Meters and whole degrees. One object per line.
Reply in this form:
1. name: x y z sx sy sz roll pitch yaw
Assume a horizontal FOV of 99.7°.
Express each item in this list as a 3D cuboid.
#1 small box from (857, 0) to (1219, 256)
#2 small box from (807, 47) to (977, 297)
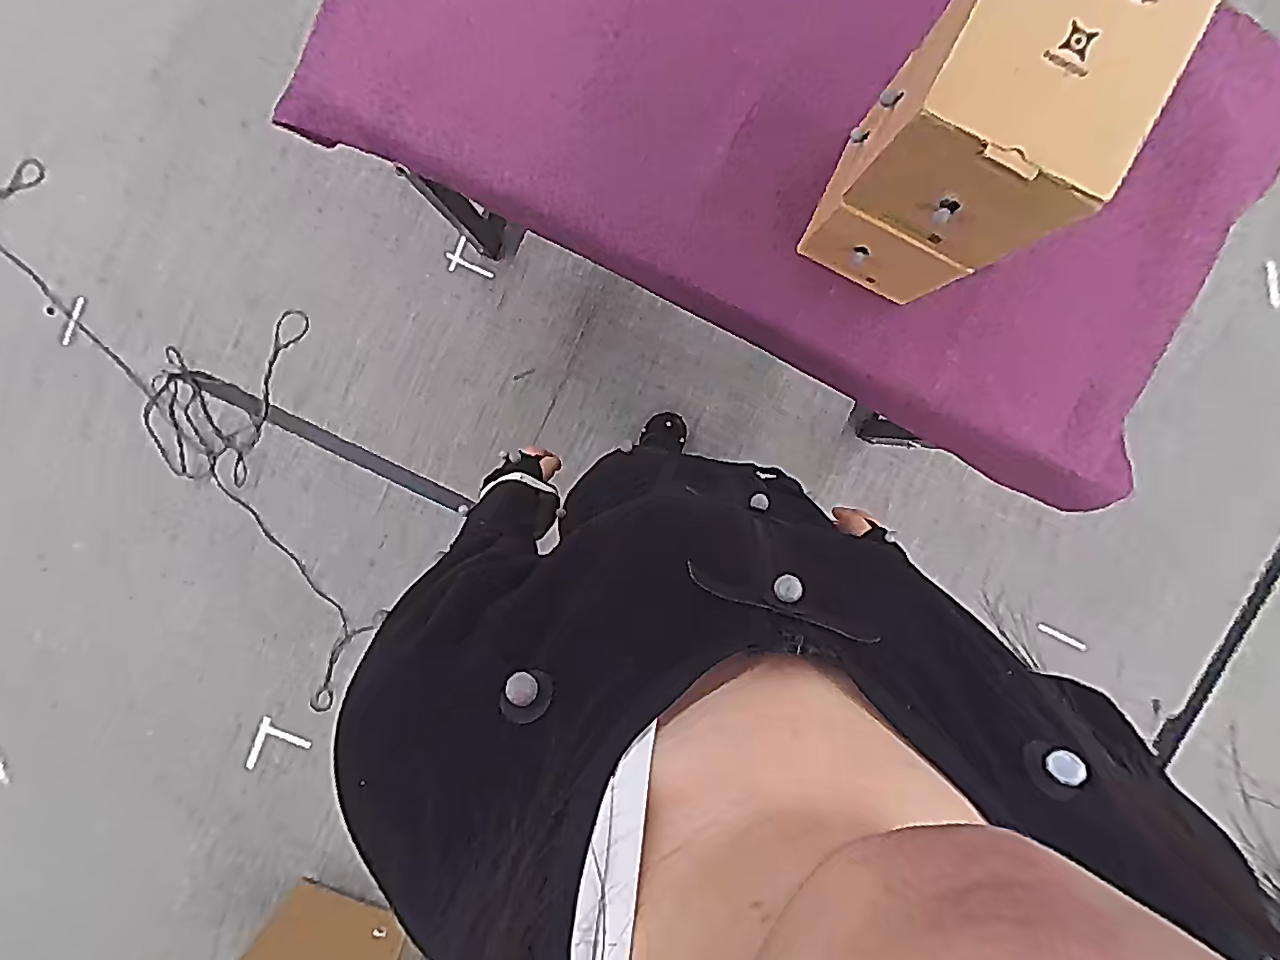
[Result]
1. small box: 0.325 -0.334 0.488 0.168 0.176 0.179 27 96 -2
2. small box: 0.322 -0.347 0.651 0.168 0.176 0.179 26 95 -2
